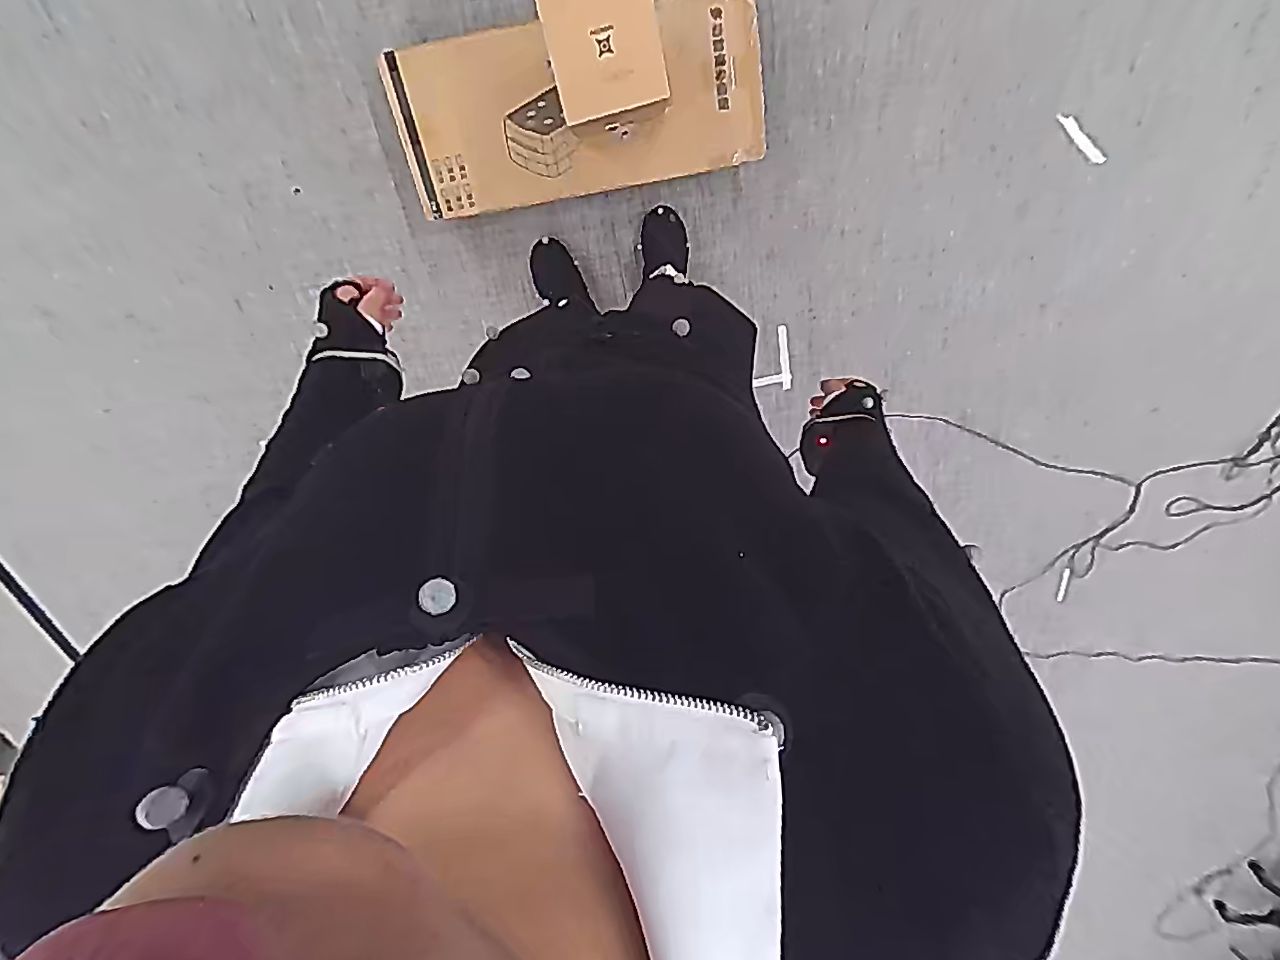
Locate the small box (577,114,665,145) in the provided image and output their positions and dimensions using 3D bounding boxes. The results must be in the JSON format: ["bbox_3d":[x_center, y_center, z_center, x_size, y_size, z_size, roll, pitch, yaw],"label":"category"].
[{"bbox_3d":[-0.050,-0.738,1.003,0.168,0.176,0.179,-11,117,3],"label":"small box"}]

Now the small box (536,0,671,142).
[{"bbox_3d":[-0.053,-0.664,0.858,0.168,0.176,0.179,-13,116,5],"label":"small box"}]
